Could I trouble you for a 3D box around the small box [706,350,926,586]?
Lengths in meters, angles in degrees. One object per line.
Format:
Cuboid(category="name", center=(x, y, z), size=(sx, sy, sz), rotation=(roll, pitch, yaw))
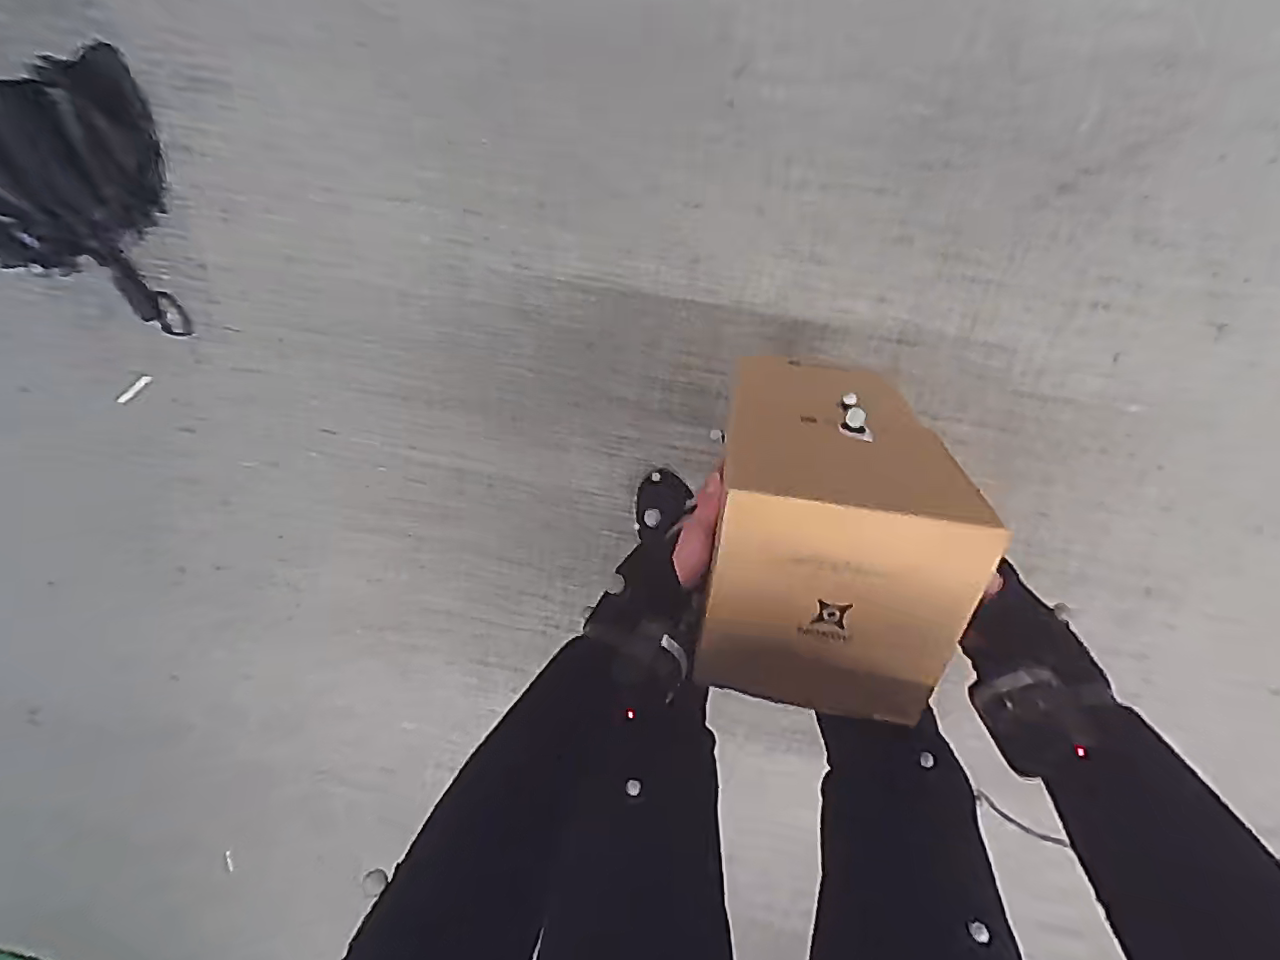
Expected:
Cuboid(category="small box", center=(0.170, -0.020, 0.573), size=(0.168, 0.176, 0.179), rotation=(9, 121, 6))
